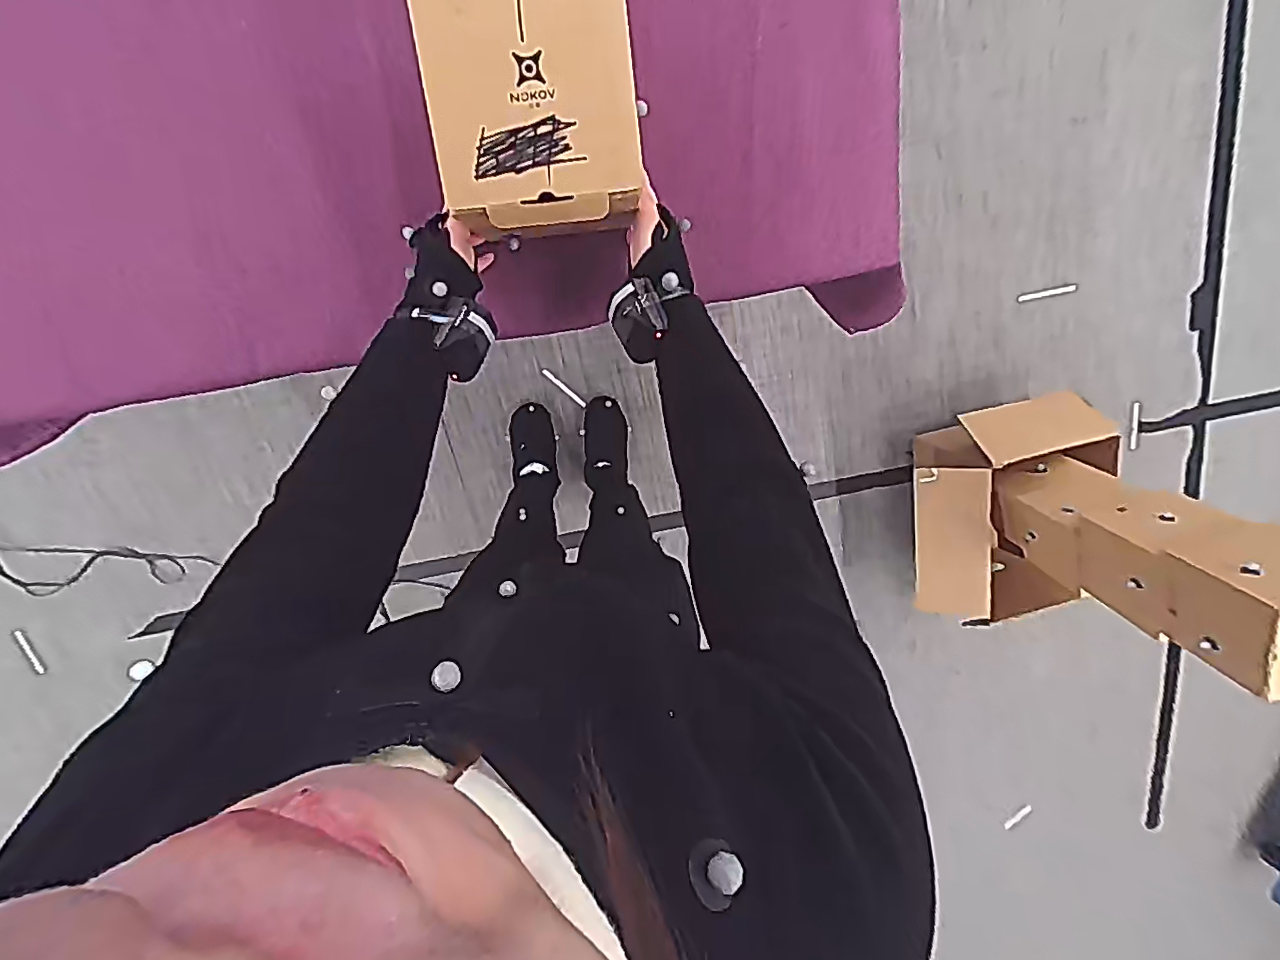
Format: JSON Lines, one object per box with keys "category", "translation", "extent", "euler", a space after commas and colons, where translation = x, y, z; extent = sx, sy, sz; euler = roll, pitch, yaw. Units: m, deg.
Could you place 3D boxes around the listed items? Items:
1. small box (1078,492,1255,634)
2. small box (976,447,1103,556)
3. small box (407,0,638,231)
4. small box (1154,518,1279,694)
{"category": "small box", "translation": [0.923, 0.136, 0.961], "extent": [0.168, 0.176, 0.179], "euler": [-17, 111, 5]}
{"category": "small box", "translation": [0.937, 0.040, 1.277], "extent": [0.168, 0.176, 0.179], "euler": [-31, 110, 9]}
{"category": "small box", "translation": [-0.093, -0.337, 0.498], "extent": [0.168, 0.176, 0.179], "euler": [-7, 106, -2]}
{"category": "small box", "translation": [0.924, 0.178, 0.802], "extent": [0.179, 0.176, 0.168], "euler": [-17, 112, 4]}
